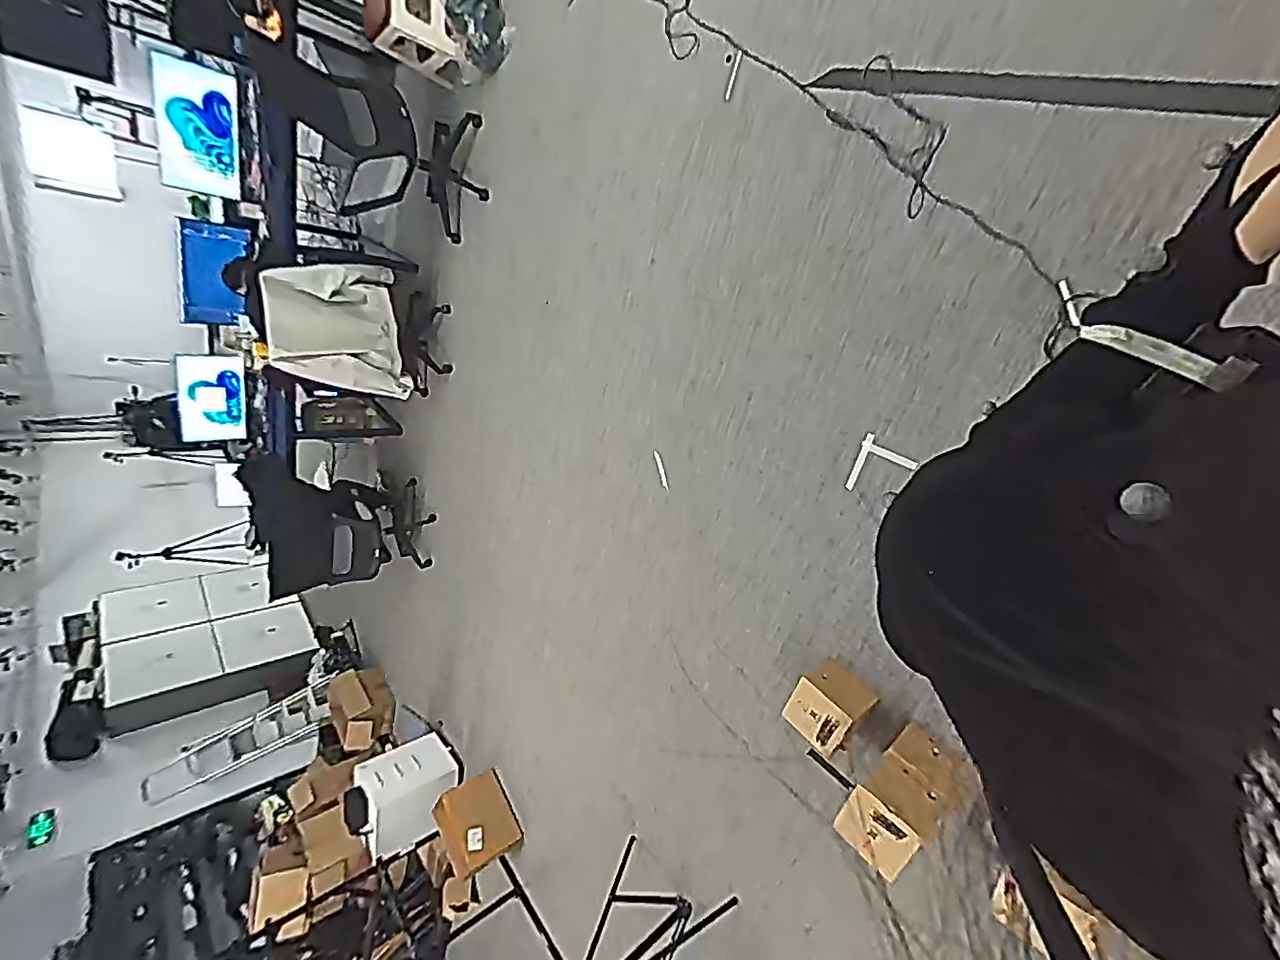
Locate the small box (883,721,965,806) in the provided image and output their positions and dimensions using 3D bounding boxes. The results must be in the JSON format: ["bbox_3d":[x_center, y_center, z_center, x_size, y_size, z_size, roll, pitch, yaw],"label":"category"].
[{"bbox_3d":[0.733,0.792,1.451,0.168,0.176,0.179,39,122,35],"label":"small box"}]

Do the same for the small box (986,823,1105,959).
[{"bbox_3d":[0.946,0.953,1.258,0.179,0.176,0.168,21,111,41],"label":"small box"}]

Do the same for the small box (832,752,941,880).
[{"bbox_3d":[0.615,0.820,1.339,0.168,0.176,0.179,35,121,37],"label":"small box"}]
